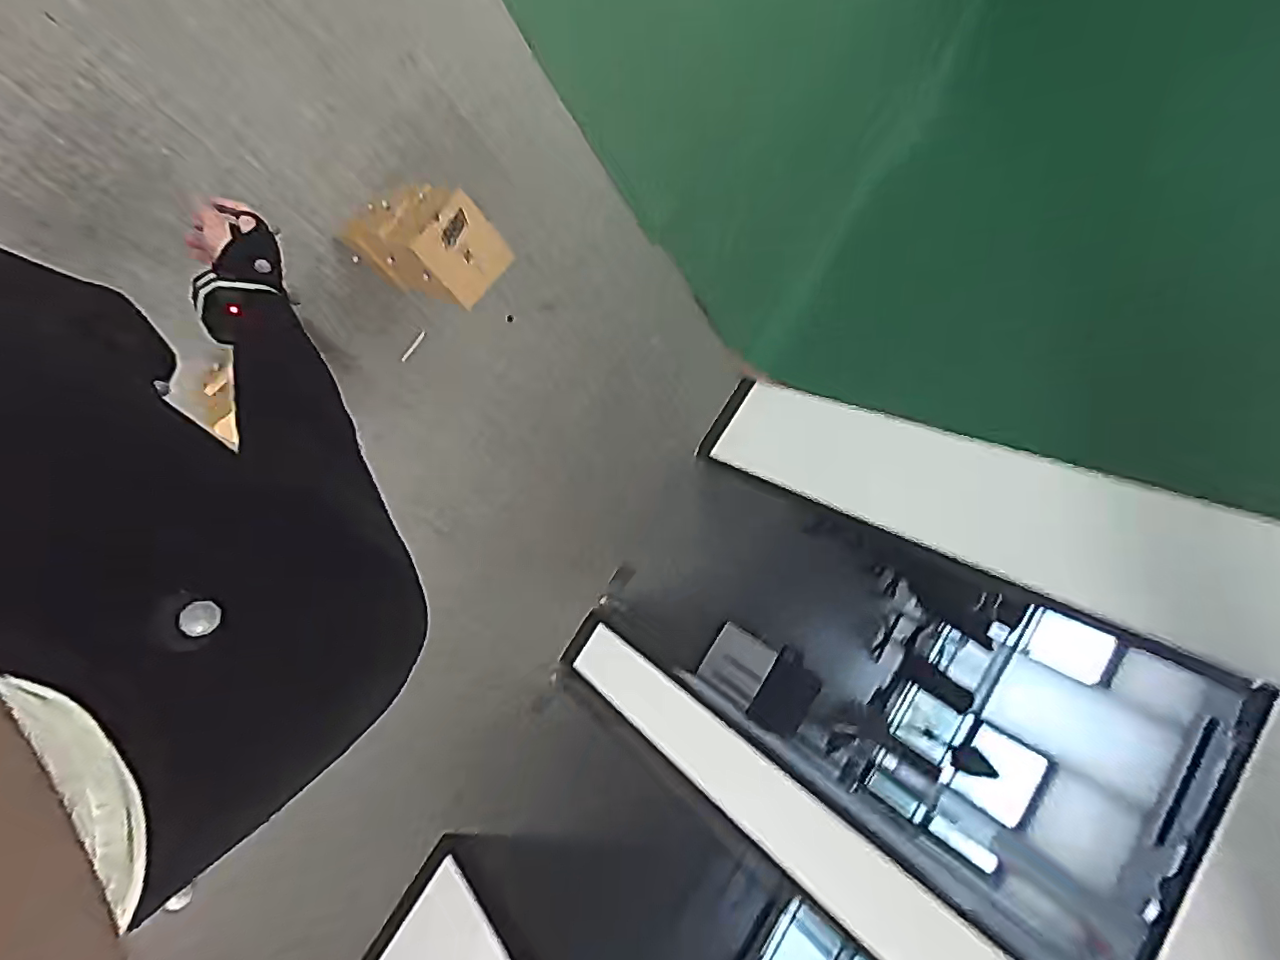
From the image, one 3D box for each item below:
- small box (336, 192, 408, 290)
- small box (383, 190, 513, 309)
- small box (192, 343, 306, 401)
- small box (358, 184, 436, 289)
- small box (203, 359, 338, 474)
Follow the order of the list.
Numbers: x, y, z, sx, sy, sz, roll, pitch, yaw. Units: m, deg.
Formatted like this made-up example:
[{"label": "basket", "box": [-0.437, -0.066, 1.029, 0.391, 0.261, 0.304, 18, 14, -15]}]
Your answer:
[{"label": "small box", "box": [-0.645, -0.623, 1.399, 0.179, 0.176, 0.168, -52, 138, -12]}, {"label": "small box", "box": [-0.424, -0.504, 1.188, 0.168, 0.176, 0.179, -54, 139, -11]}, {"label": "small box", "box": [-0.933, -0.210, 1.315, 0.168, 0.176, 0.179, -50, 137, -18]}, {"label": "small box", "box": [-0.533, -0.573, 1.291, 0.168, 0.176, 0.179, -53, 137, -12]}, {"label": "small box", "box": [-0.828, -0.147, 1.211, 0.168, 0.176, 0.179, -51, 138, -12]}]
